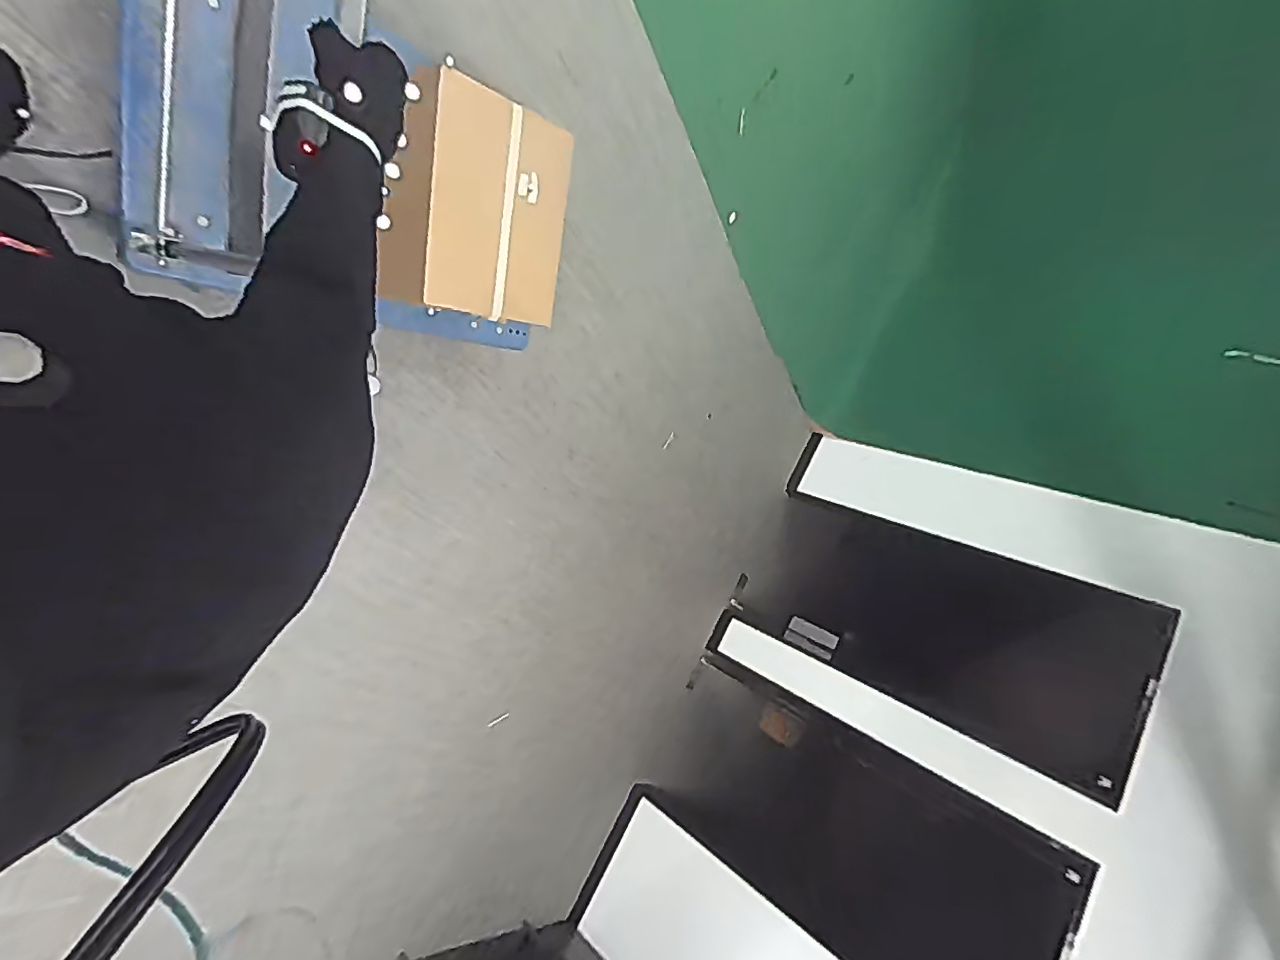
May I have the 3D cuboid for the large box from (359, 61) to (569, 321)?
[{"bbox_3d":[-0.388,-0.578,1.172,0.320,0.320,0.408,-8,112,-50],"label":"large box"}]
